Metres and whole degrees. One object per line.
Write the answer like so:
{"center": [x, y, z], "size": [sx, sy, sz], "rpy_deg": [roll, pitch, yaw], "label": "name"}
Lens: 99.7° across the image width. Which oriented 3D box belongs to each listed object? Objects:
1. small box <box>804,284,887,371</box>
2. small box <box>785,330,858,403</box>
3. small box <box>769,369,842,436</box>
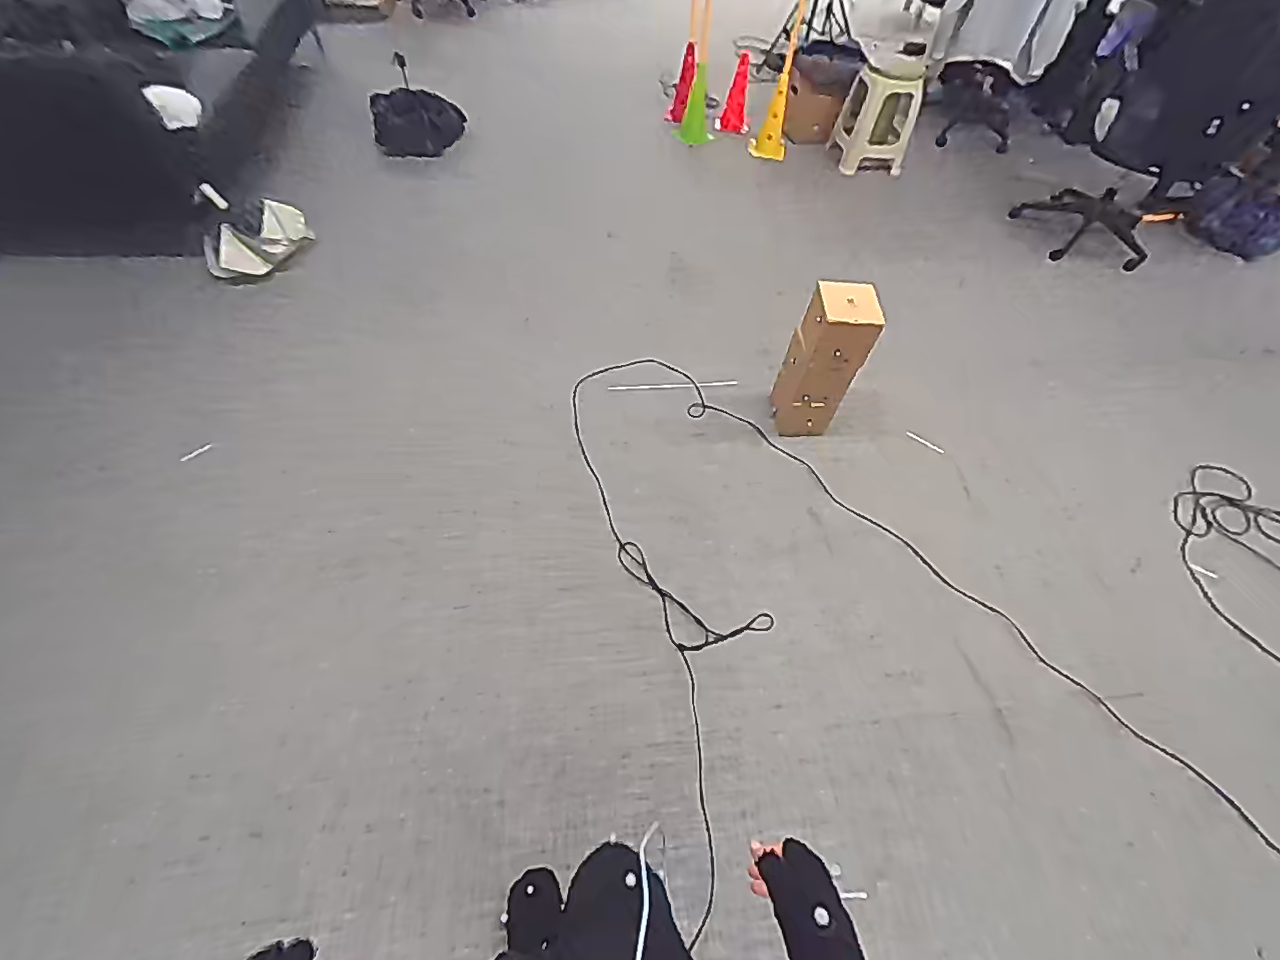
{"center": [0.597, -0.448, 1.594], "size": [0.168, 0.176, 0.179], "rpy_deg": [3, 57, -2], "label": "small box"}
{"center": [0.578, -0.359, 1.729], "size": [0.168, 0.176, 0.179], "rpy_deg": [-1, 56, -5], "label": "small box"}
{"center": [0.564, -0.264, 1.865], "size": [0.168, 0.176, 0.179], "rpy_deg": [-2, 58, -9], "label": "small box"}
